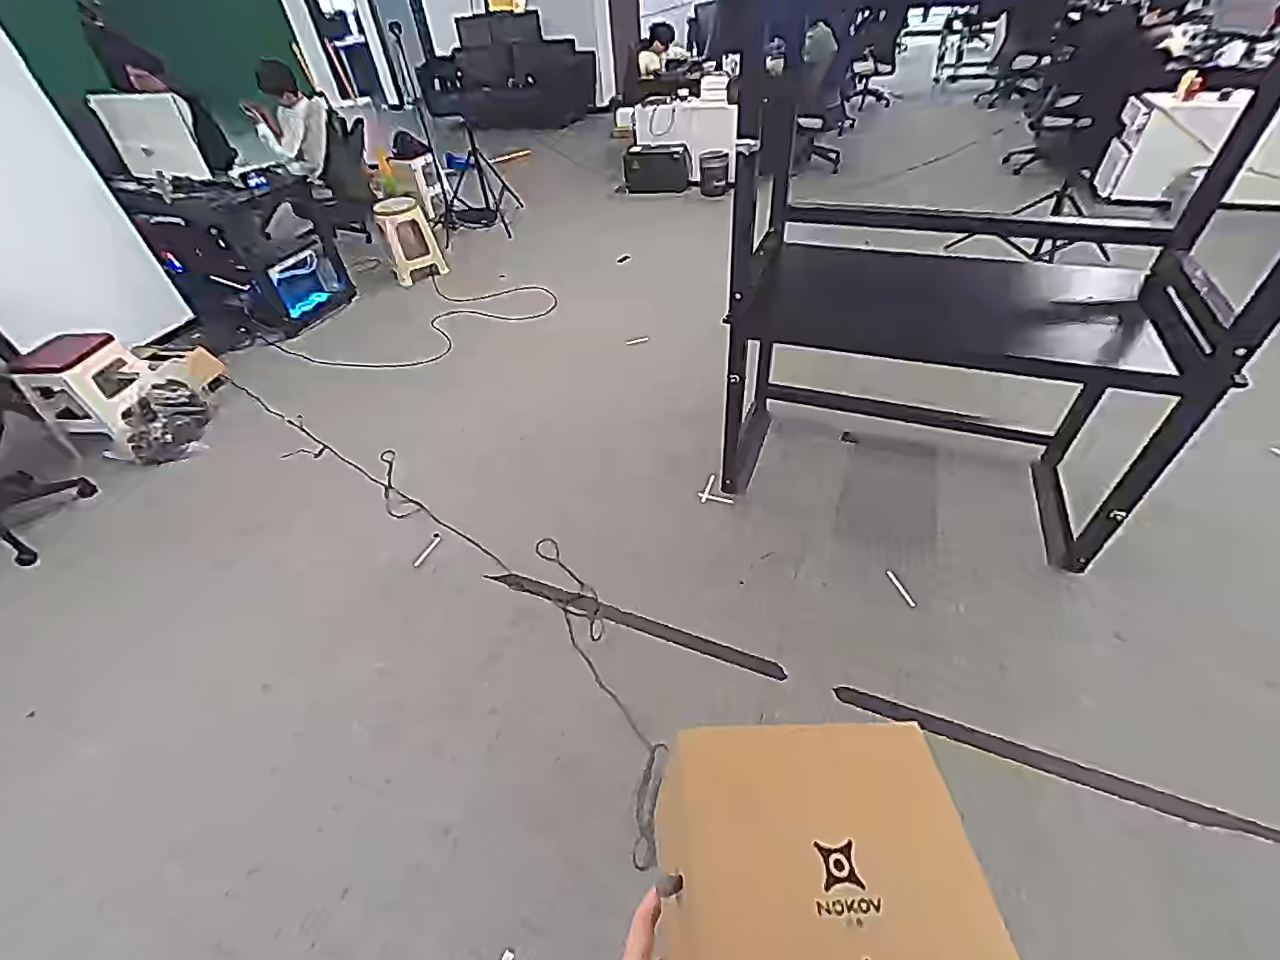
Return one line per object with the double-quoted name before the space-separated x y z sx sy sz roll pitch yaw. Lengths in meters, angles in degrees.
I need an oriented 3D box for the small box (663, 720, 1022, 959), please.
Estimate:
"small box" 0.107 0.279 0.351 0.168 0.176 0.179 1 43 -4
